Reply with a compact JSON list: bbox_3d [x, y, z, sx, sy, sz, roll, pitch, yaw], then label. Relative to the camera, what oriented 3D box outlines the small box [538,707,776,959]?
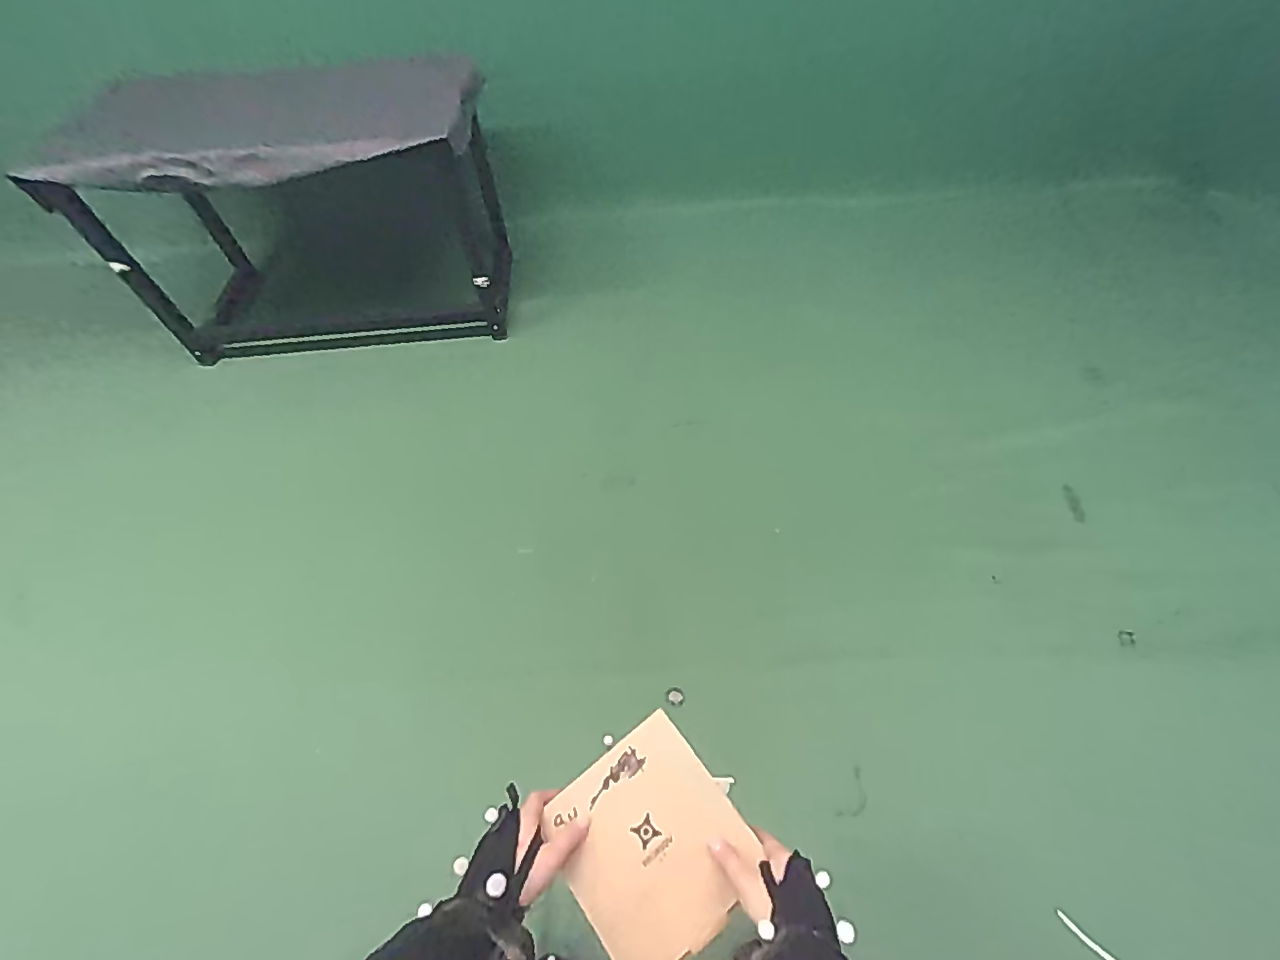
[{"bbox_3d":[0.017,0.376,0.589,0.168,0.176,0.179,-34,67,-15],"label":"small box"}]
